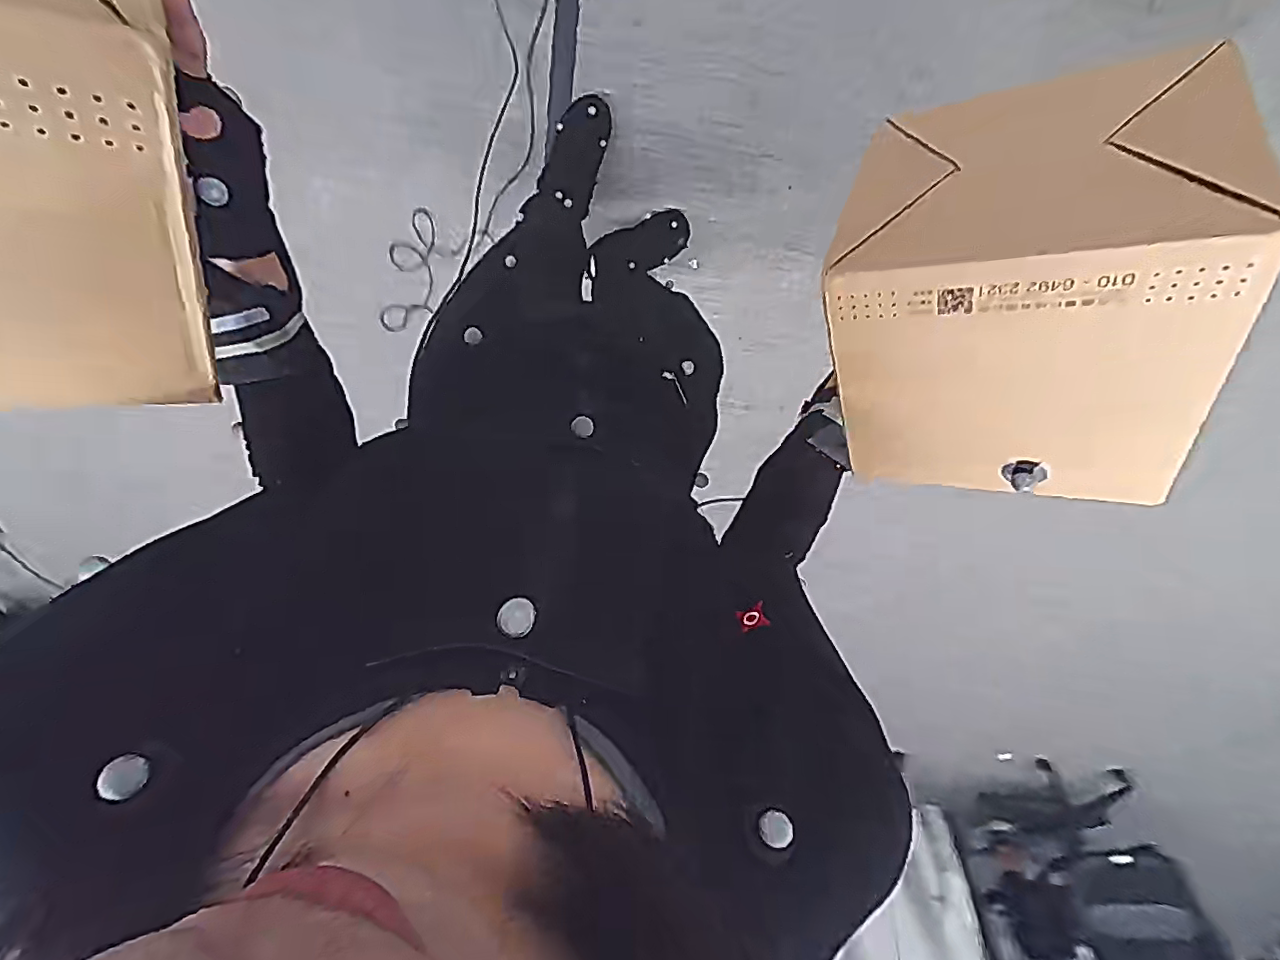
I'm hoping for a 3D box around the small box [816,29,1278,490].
[{"bbox_3d":[0.216,-0.118,0.319,0.168,0.179,0.176,5,145,34],"label":"small box"}]

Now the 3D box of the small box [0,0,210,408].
[{"bbox_3d":[-0.260,-0.139,0.169,0.168,0.179,0.176,-10,159,-34],"label":"small box"}]
